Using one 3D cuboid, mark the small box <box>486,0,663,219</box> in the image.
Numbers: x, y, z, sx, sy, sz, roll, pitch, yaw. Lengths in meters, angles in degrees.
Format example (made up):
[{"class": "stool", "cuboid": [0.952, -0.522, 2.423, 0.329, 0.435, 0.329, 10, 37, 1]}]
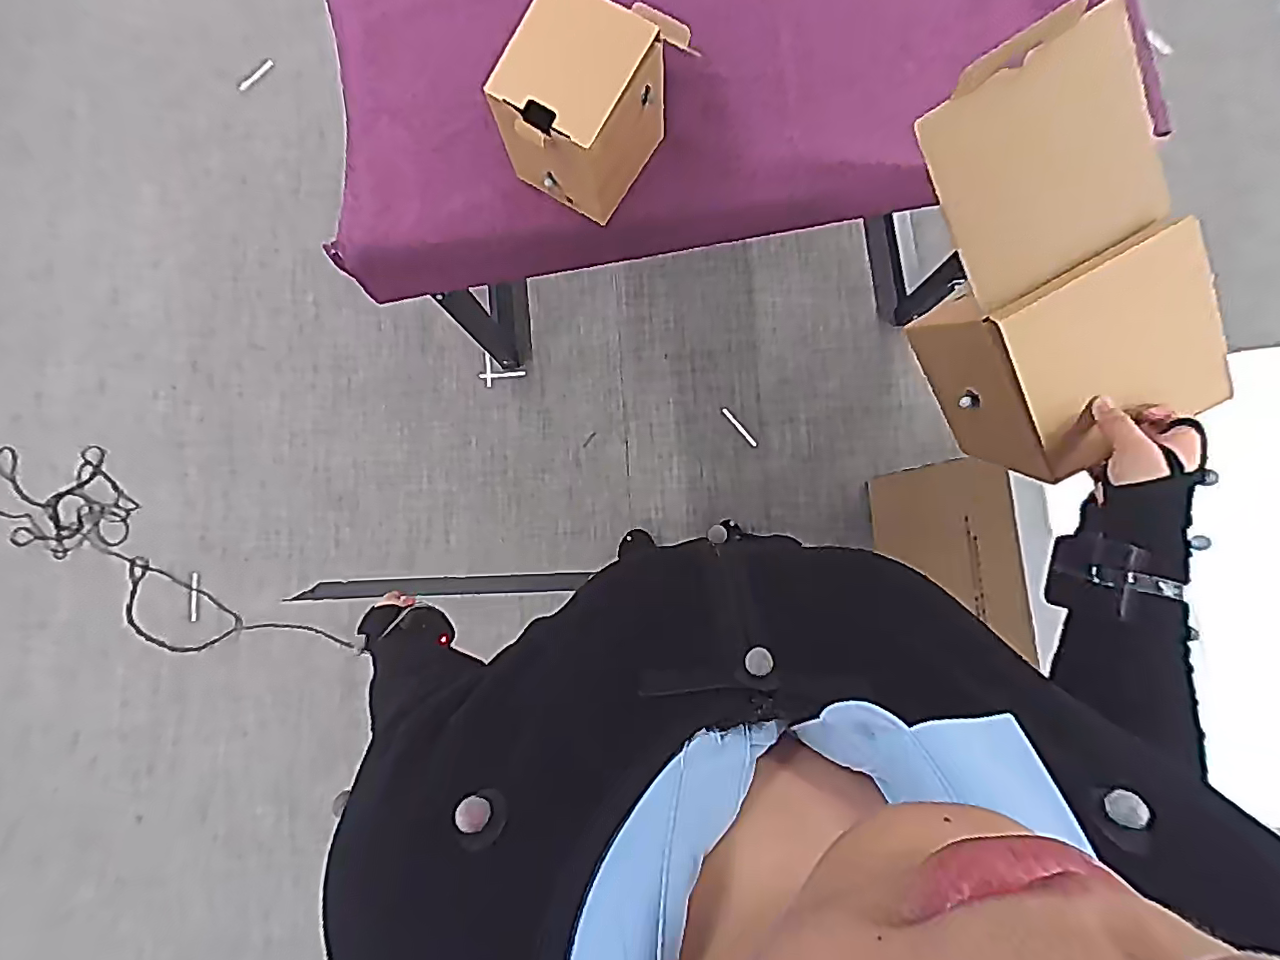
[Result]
[{"class": "small box", "cuboid": [-0.081, -0.518, 0.763, 0.168, 0.176, 0.179, 32, 86, 6]}]
